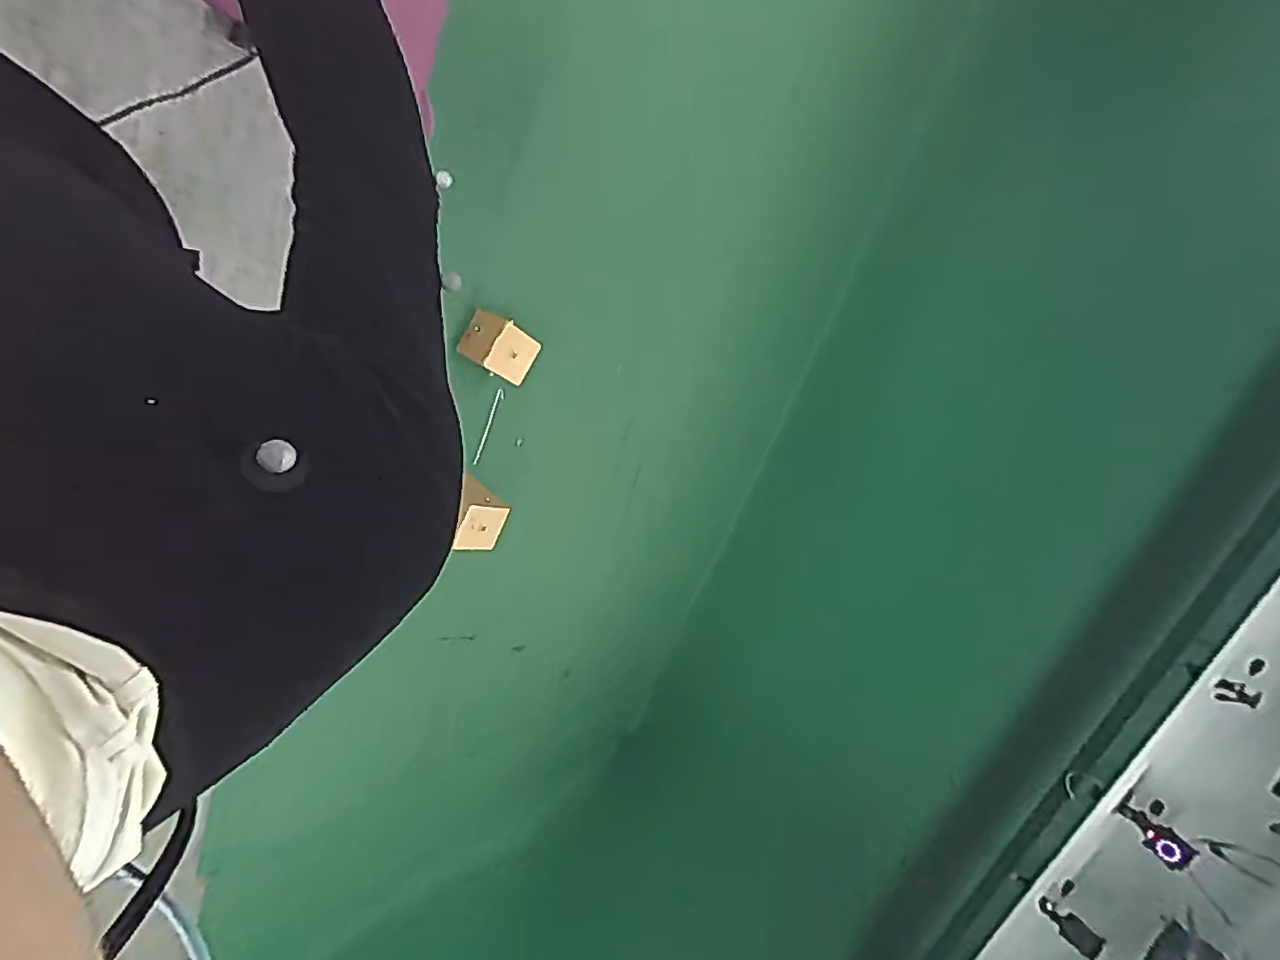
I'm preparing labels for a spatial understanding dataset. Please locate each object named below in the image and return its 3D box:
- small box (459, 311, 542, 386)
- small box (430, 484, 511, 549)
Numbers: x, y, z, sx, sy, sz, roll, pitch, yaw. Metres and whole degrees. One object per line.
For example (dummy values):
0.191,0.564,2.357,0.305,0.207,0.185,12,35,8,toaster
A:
-0.478,-0.452,1.846,0.168,0.176,0.179,-59,146,3,small box
-0.588,0.125,1.869,0.179,0.176,0.168,12,107,-55,small box
